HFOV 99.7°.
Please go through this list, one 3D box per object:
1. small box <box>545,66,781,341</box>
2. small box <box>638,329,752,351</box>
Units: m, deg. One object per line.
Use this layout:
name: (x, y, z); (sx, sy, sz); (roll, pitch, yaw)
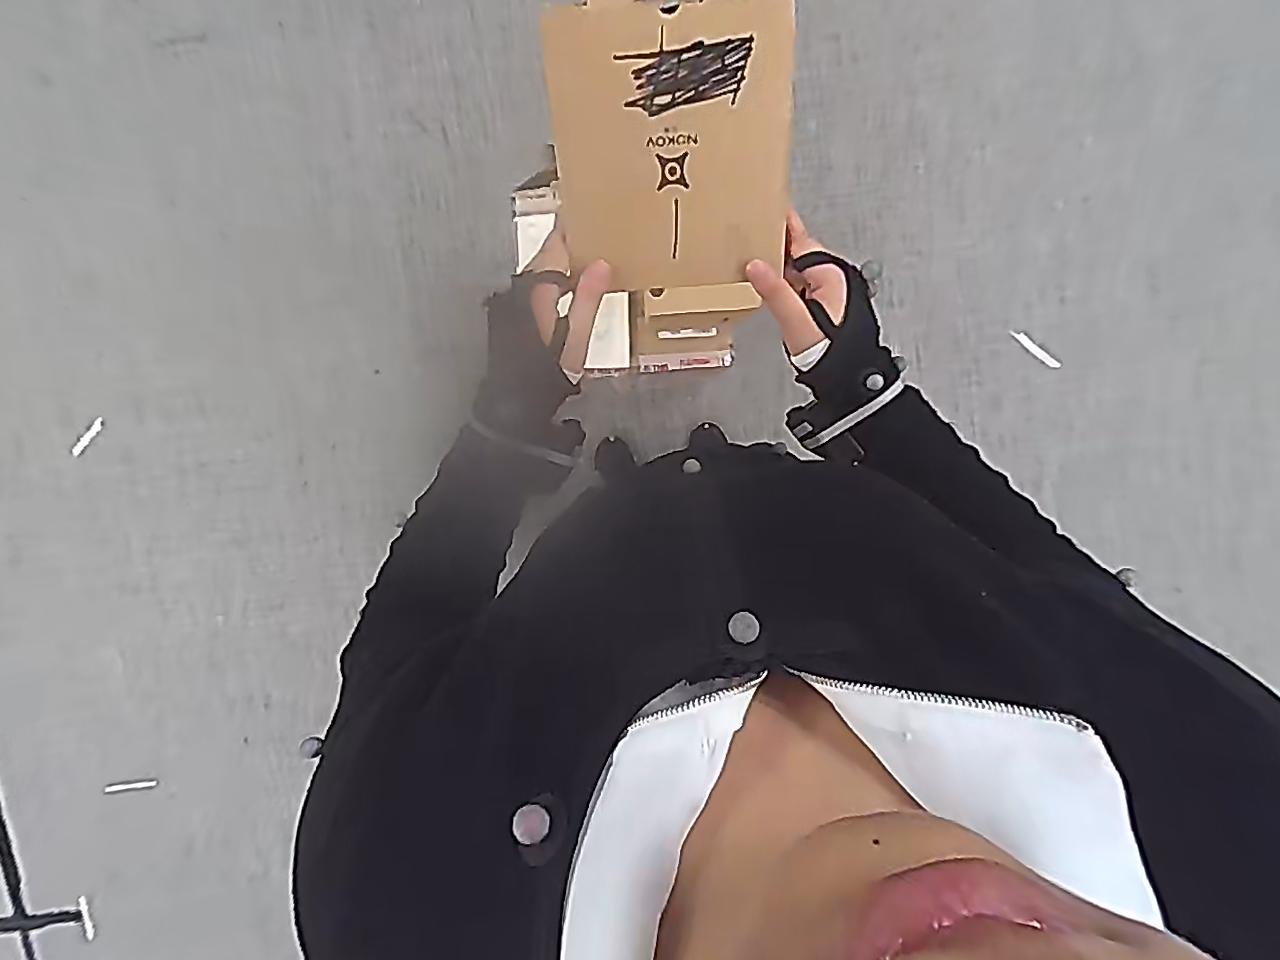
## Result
small box: (0.013, -0.228, 0.469); (0.168, 0.176, 0.179); (-5, 115, -2)
small box: (0.082, -0.315, 0.914); (0.179, 0.176, 0.168); (-5, 96, -1)
